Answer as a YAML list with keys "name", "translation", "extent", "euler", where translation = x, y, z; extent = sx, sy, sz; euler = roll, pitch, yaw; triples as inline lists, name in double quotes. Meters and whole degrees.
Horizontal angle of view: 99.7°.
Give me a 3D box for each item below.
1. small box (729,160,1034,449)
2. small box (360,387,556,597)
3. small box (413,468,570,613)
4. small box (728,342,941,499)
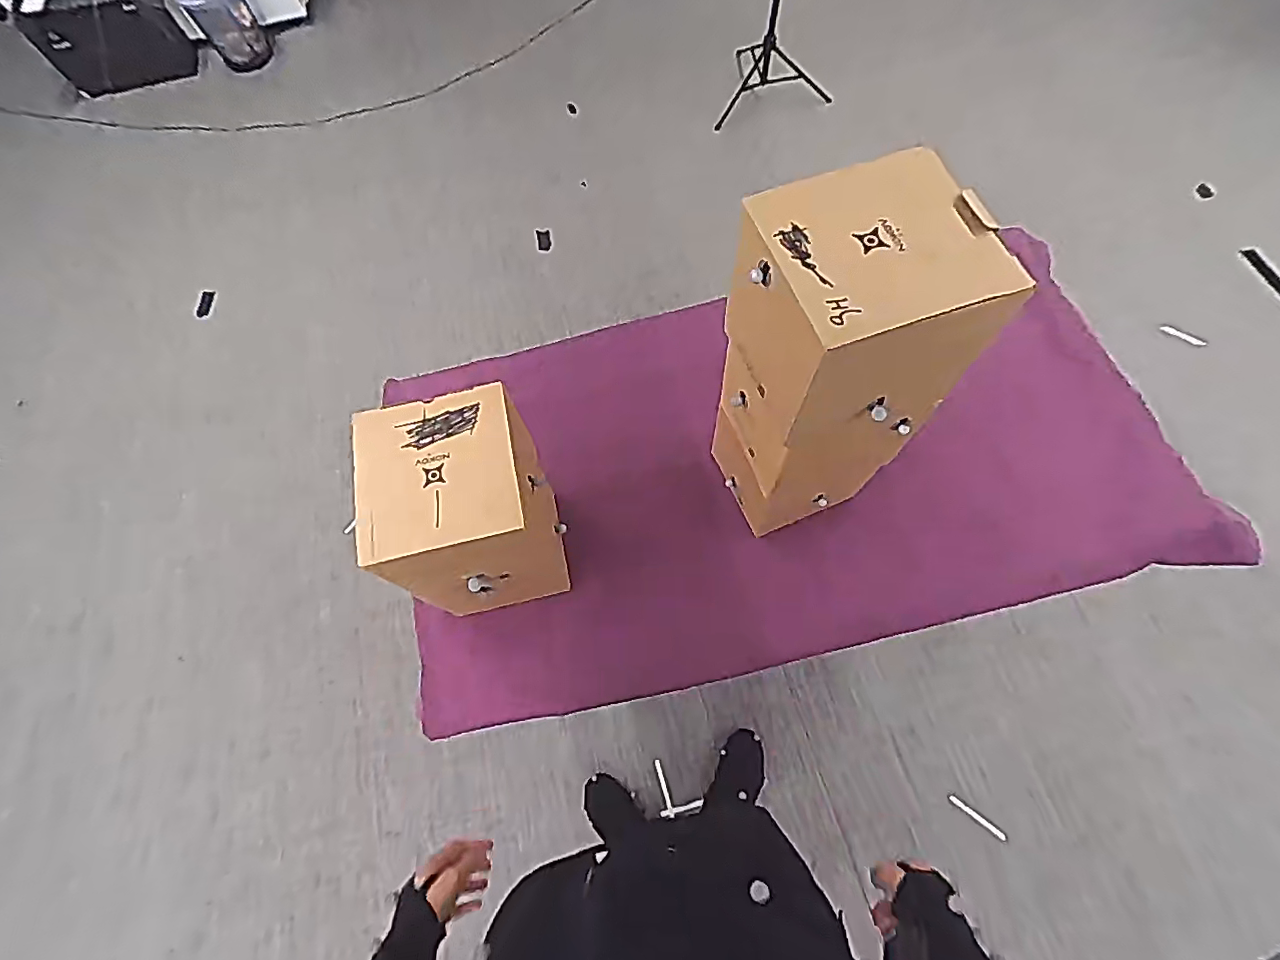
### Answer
- name: "small box"
  translation: [0.198, -0.152, 0.505]
  extent: [0.179, 0.176, 0.168]
  euler: [-17, 67, -5]
- name: "small box"
  translation: [-0.202, 0.022, 0.628]
  extent: [0.168, 0.176, 0.179]
  euler: [-13, 68, -3]
- name: "small box"
  translation: [-0.209, 0.084, 0.781]
  extent: [0.179, 0.176, 0.168]
  euler: [-12, 67, -3]
- name: "small box"
  translation: [0.214, -0.094, 0.658]
  extent: [0.179, 0.176, 0.168]
  euler: [-17, 68, -4]
